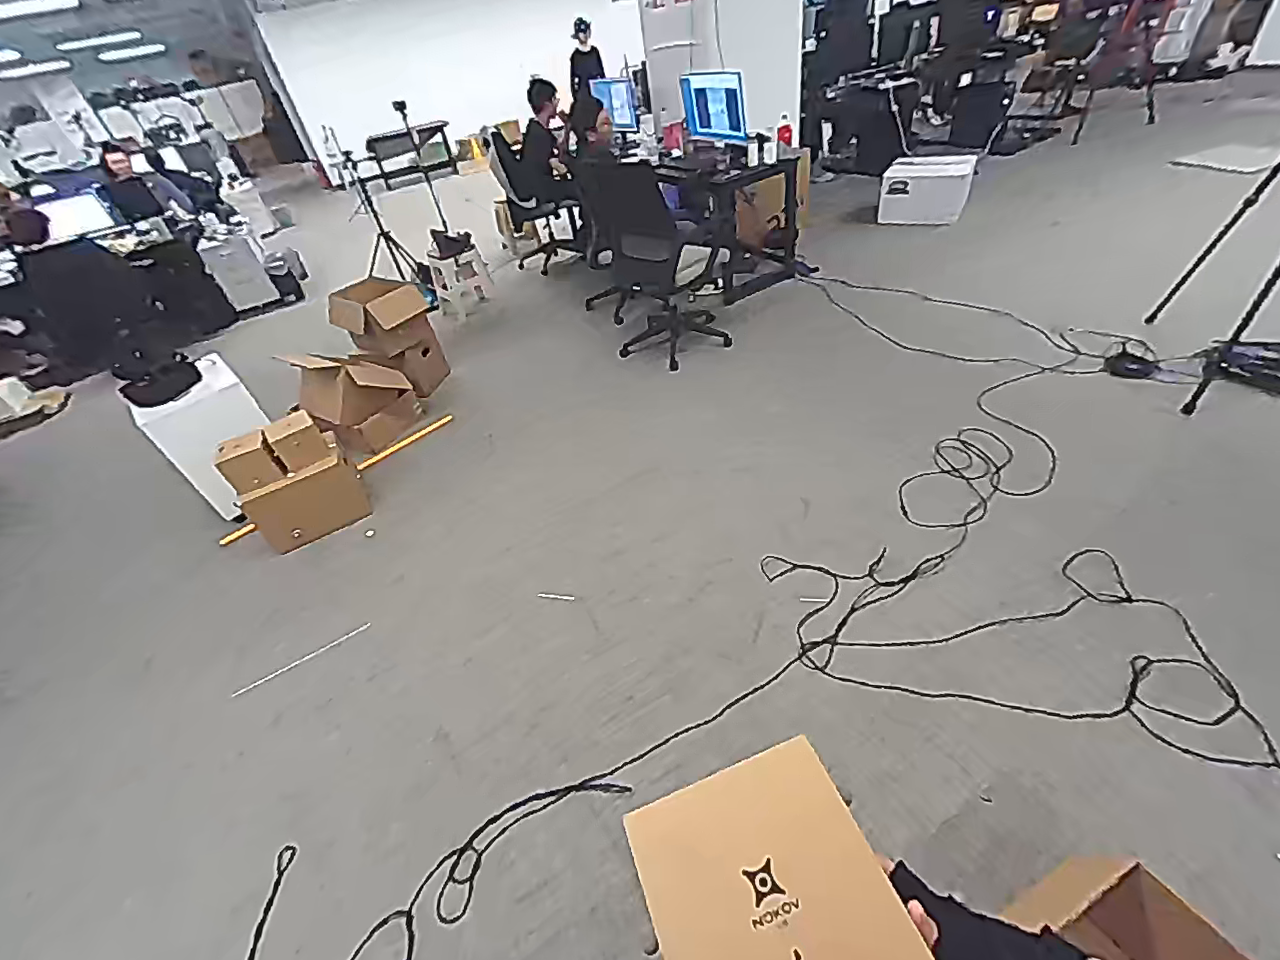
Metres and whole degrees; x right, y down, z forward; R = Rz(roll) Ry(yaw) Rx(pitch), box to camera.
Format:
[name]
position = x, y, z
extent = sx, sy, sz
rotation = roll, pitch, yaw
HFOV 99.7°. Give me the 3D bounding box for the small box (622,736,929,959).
[small box]
position = 0.098, 0.346, 0.430
extent = 0.168, 0.176, 0.179
rotation = -20, 45, -8
